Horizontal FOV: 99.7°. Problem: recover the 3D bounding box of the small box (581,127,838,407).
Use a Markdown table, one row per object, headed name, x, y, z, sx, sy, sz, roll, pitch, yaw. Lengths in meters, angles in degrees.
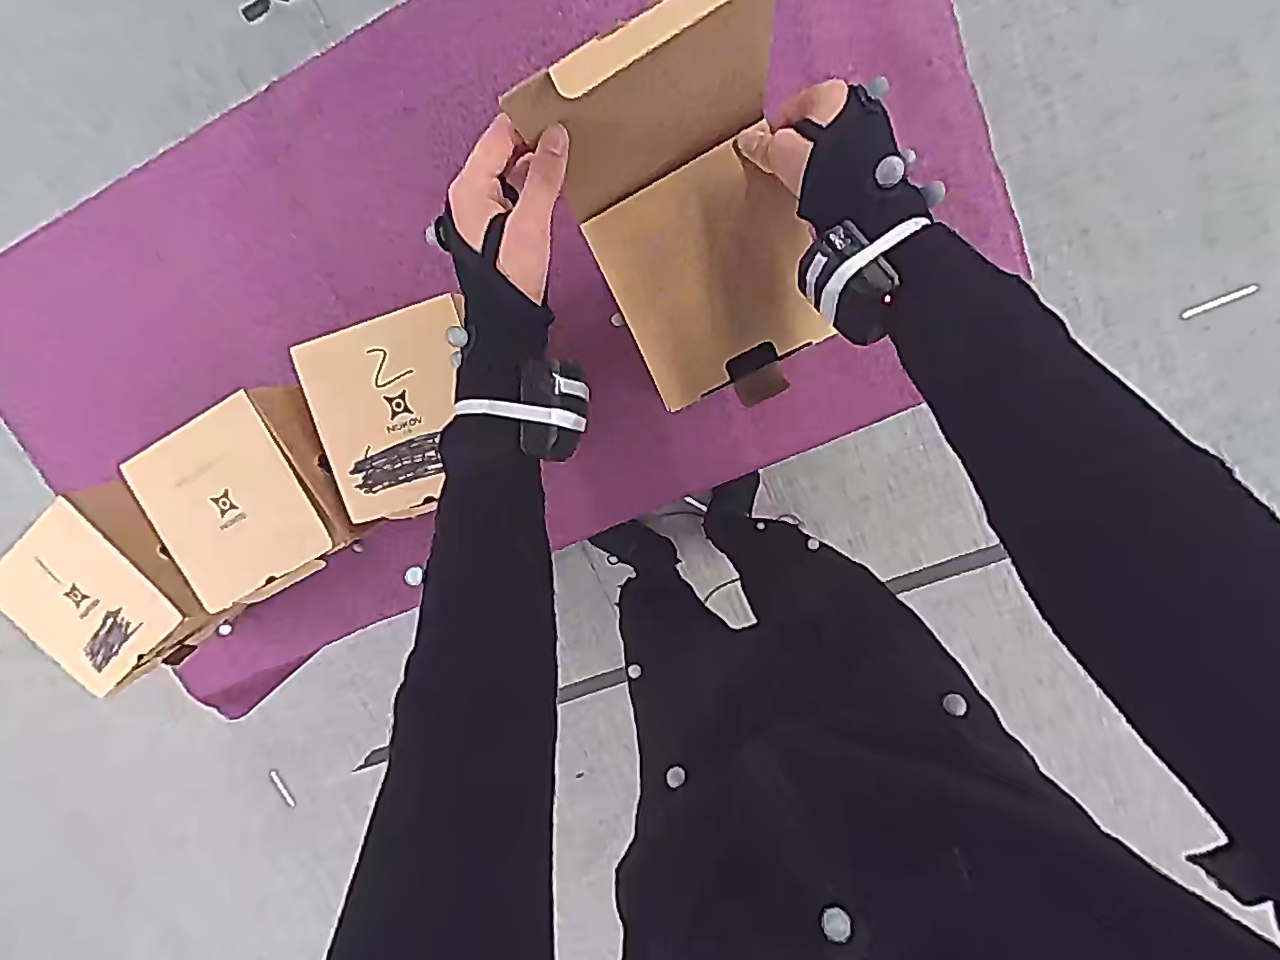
| name | x | y | z | sx | sy | sz | roll | pitch | yaw |
| --- | --- | --- | --- | --- | --- | --- | --- | --- | --- |
| small box | 0.064 | -0.187 | 0.528 | 0.168 | 0.176 | 0.179 | -24 | 100 | 11 |
